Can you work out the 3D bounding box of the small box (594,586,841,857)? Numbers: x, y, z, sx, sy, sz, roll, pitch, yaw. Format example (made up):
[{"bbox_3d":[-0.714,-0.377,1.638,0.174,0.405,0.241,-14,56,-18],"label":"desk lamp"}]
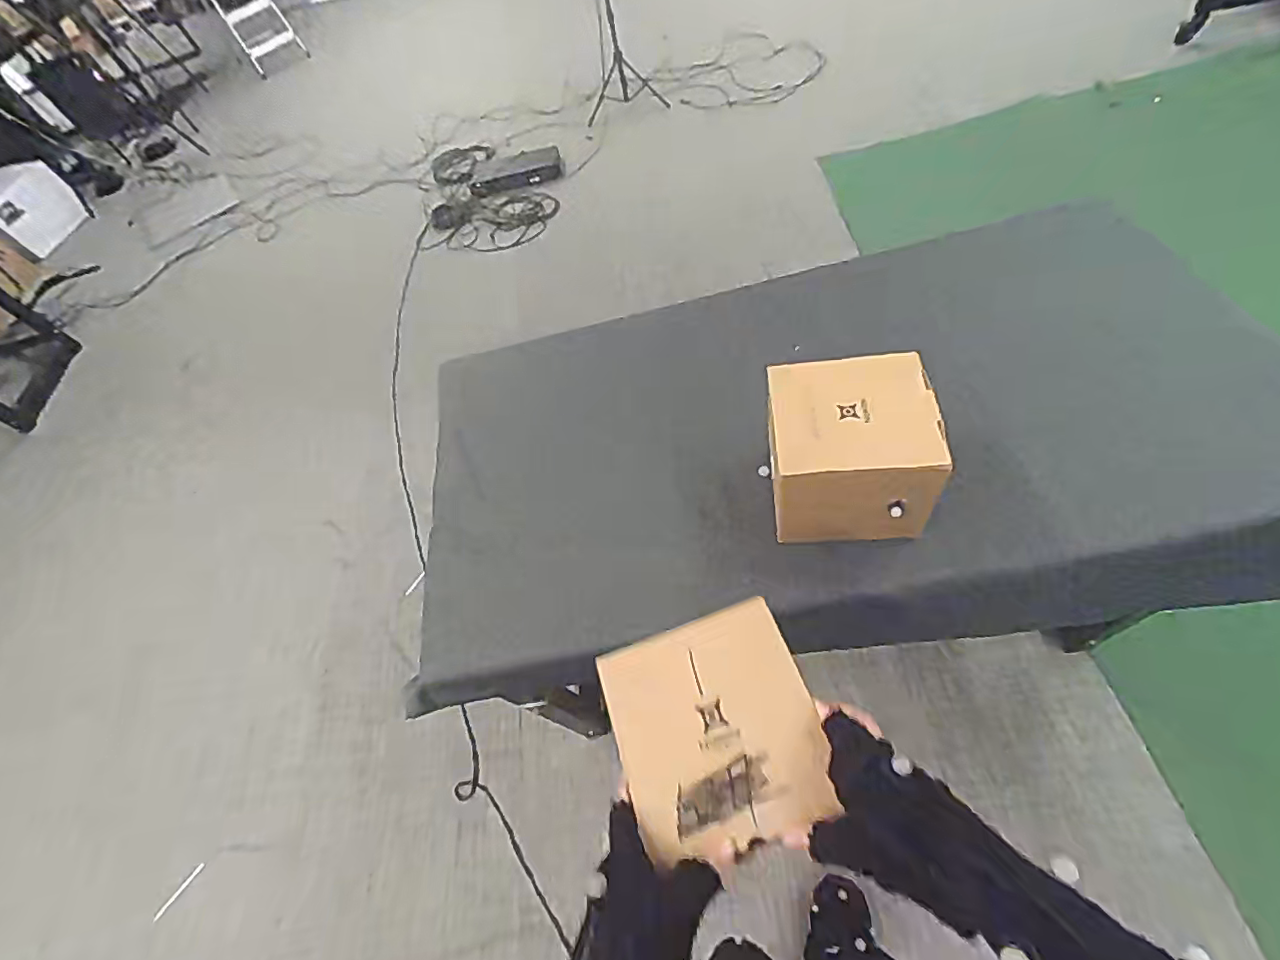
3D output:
[{"bbox_3d":[0.072,0.231,0.520,0.168,0.176,0.179,-19,57,1],"label":"small box"}]

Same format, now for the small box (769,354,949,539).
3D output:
[{"bbox_3d":[0.257,-0.034,0.683,0.179,0.176,0.168,-4,57,12],"label":"small box"}]
